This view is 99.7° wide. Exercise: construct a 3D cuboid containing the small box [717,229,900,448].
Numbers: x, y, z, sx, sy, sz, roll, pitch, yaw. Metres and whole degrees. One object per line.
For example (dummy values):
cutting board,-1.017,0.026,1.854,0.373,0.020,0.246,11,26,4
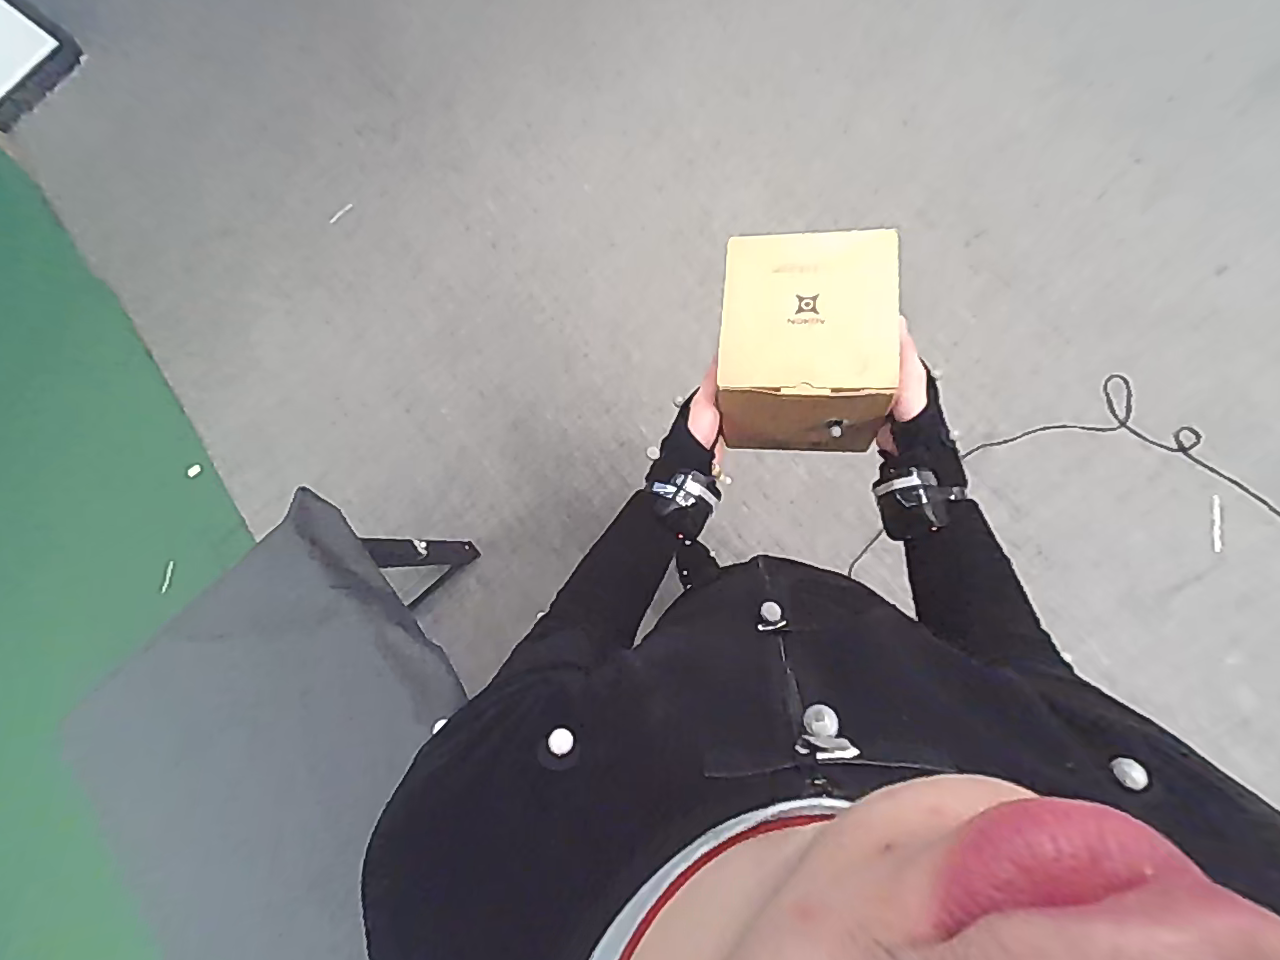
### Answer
small box,0.179,-0.144,0.596,0.168,0.176,0.179,3,73,12
